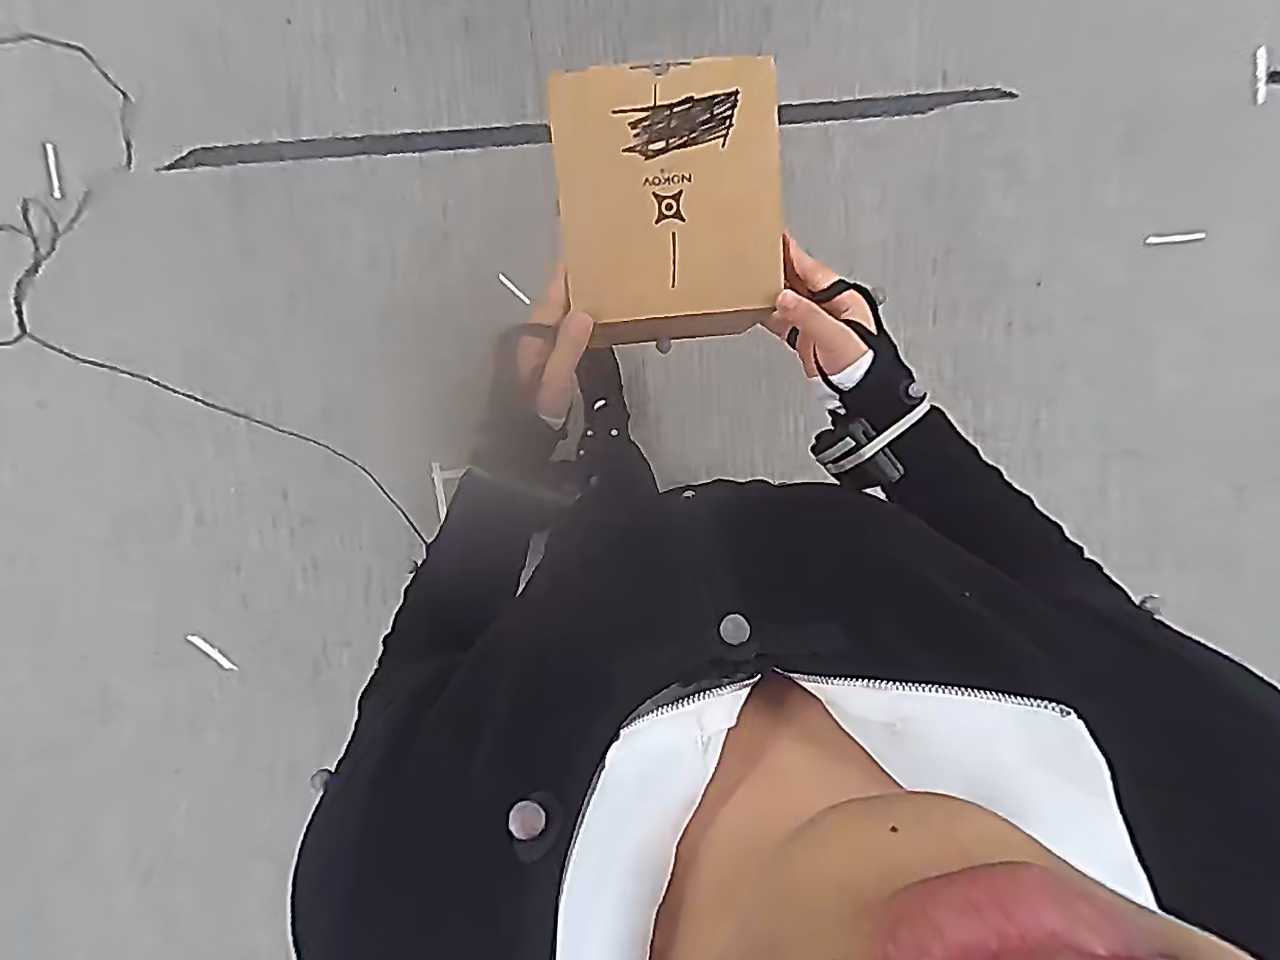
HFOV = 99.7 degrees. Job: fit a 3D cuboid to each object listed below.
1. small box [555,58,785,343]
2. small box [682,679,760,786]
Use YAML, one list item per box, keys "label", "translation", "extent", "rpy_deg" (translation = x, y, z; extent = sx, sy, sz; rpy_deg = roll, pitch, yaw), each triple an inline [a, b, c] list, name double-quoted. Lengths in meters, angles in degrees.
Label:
- label: "small box"
  translation: [0.022, -0.226, 0.482]
  extent: [0.168, 0.176, 0.179]
  rpy_deg: [-5, 98, 0]
- label: "small box"
  translation: [0.196, 0.623, 1.348]
  extent: [0.168, 0.176, 0.179]
  rpy_deg: [-6, 95, 0]
